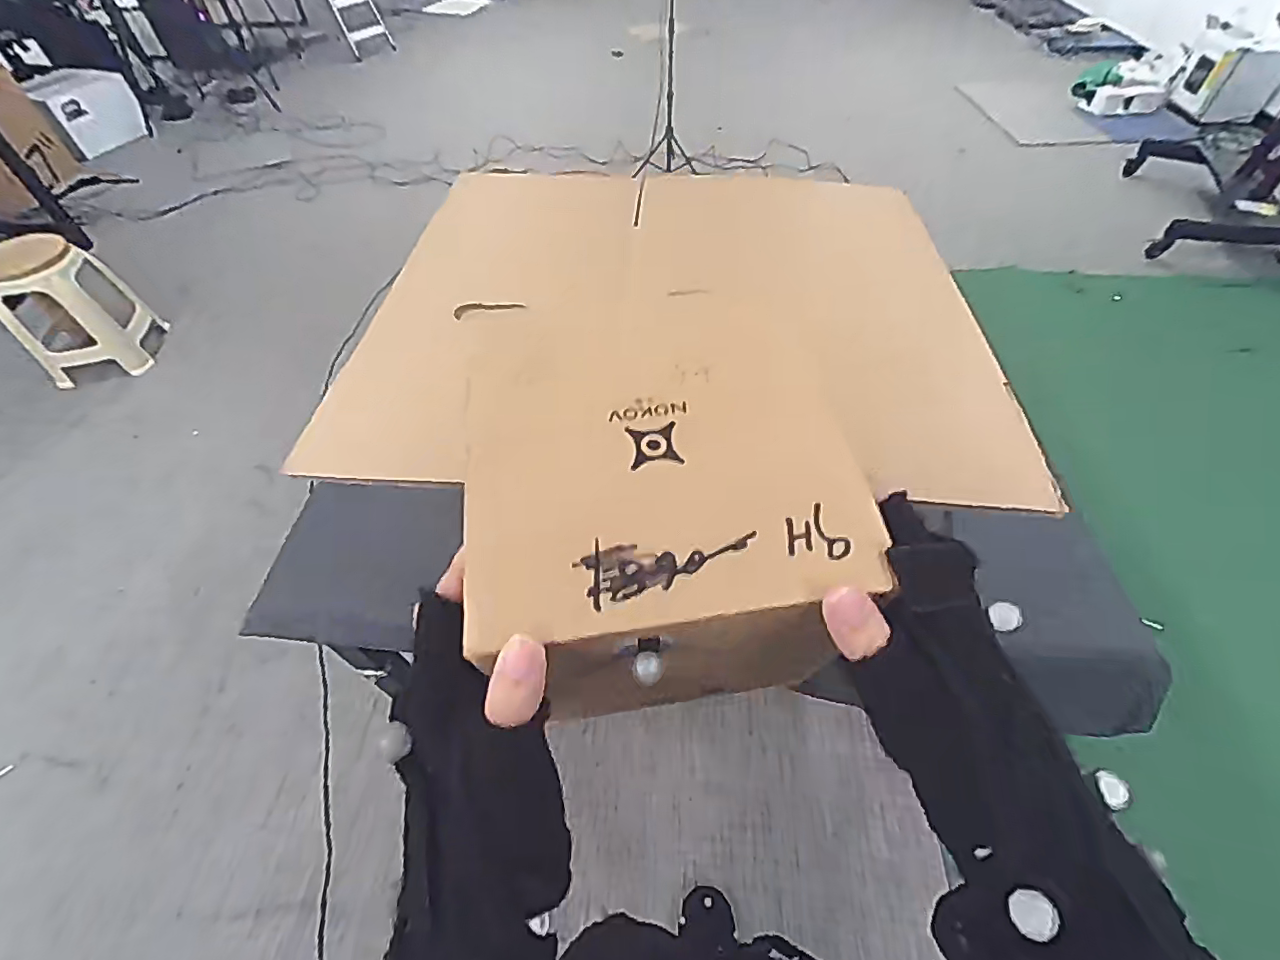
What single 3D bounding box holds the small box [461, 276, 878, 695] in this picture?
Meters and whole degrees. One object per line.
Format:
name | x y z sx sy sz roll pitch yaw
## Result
small box | 0.004 0.010 0.320 0.168 0.176 0.179 -8 57 -3
